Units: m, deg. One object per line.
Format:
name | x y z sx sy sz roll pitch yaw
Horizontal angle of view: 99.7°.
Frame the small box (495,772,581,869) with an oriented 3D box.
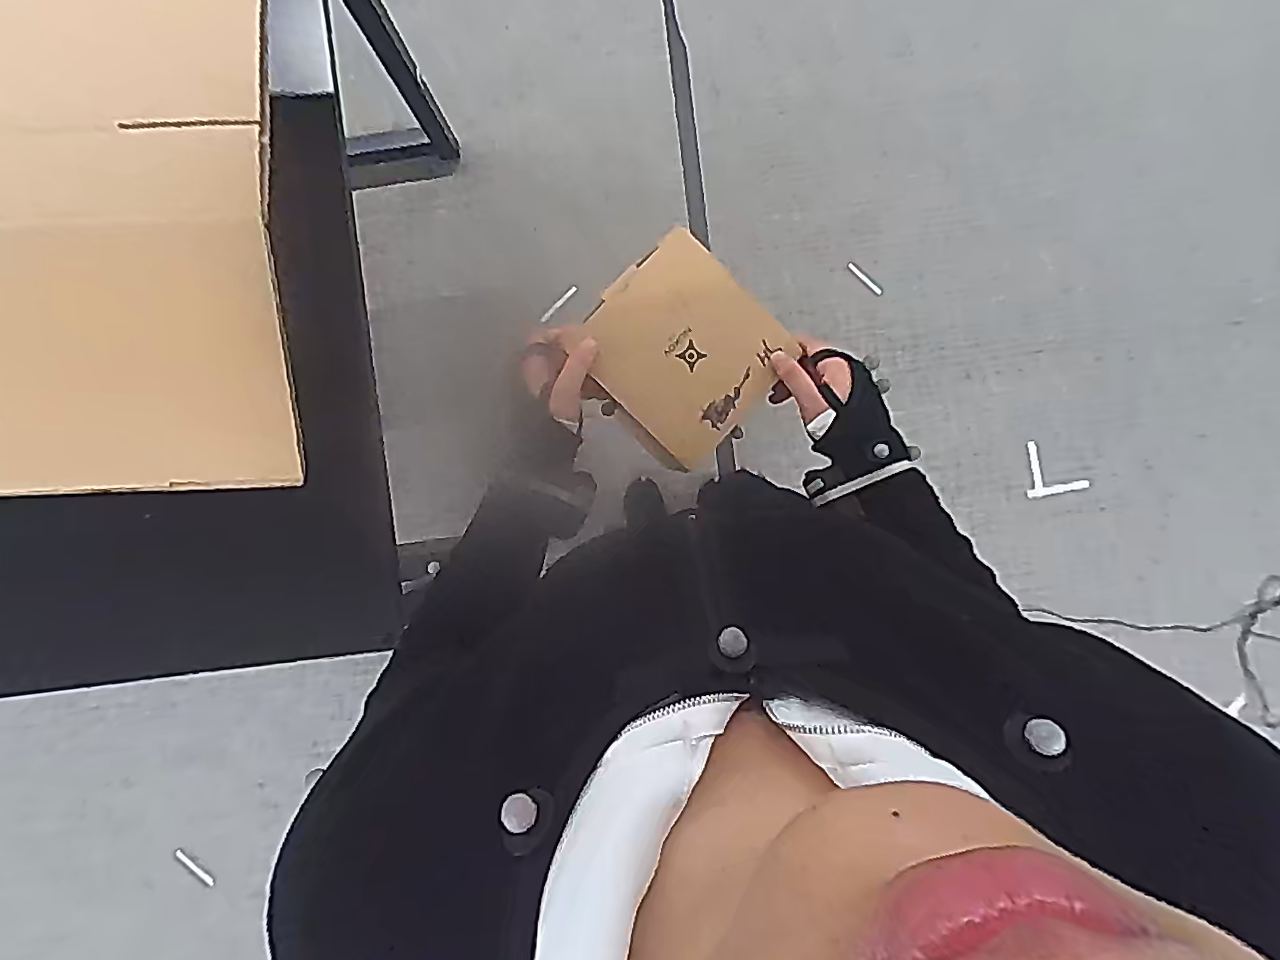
small box | -0.263 0.905 1.428 0.179 0.176 0.168 -11 90 -1
